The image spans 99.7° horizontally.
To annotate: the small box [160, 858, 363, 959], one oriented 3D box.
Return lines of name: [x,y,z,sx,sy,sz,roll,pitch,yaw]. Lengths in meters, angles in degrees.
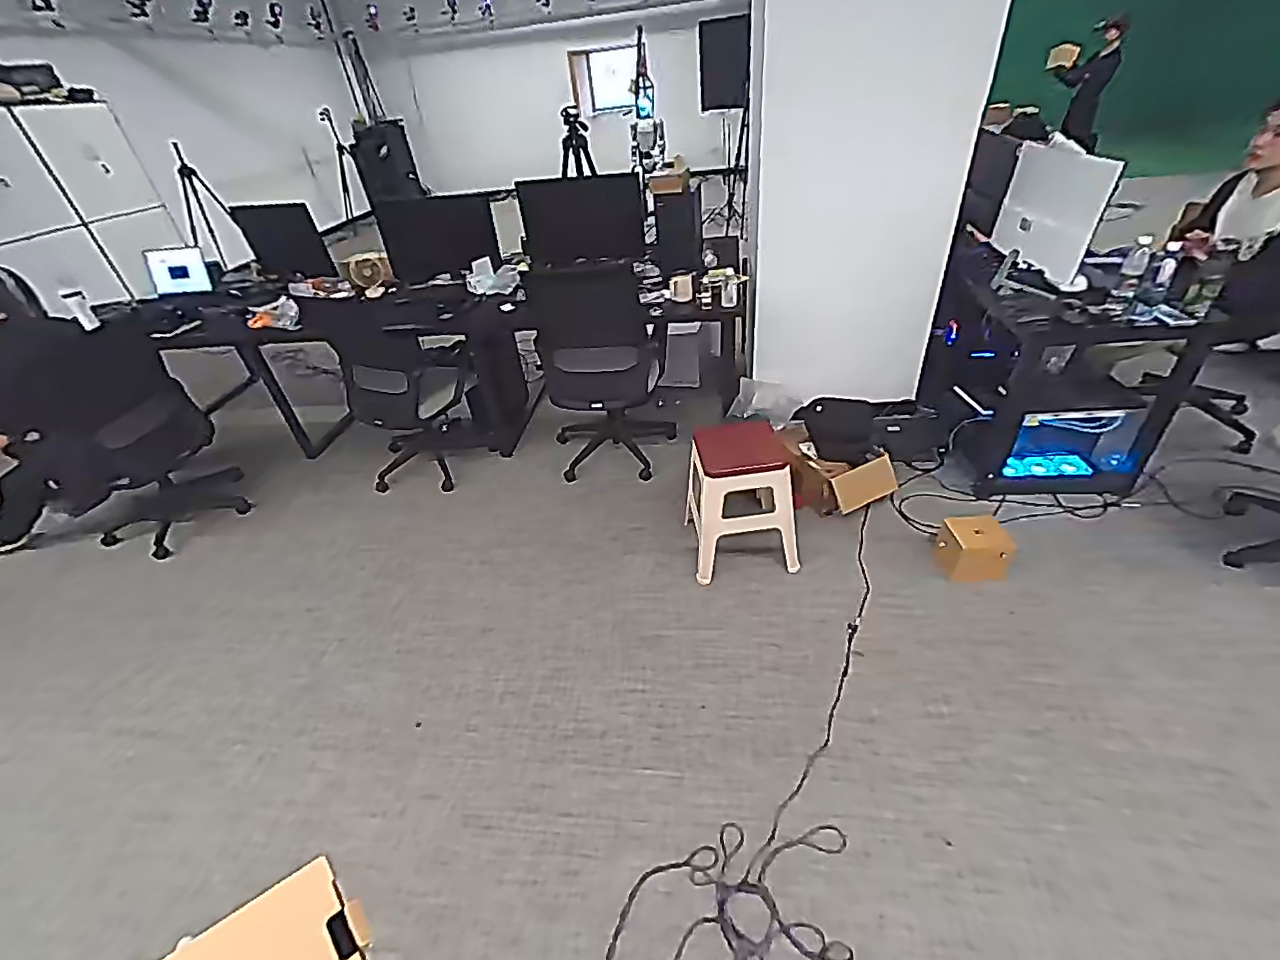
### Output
small box: [-0.378,0.542,0.546,0.179,0.176,0.168,-20,53,-40]
